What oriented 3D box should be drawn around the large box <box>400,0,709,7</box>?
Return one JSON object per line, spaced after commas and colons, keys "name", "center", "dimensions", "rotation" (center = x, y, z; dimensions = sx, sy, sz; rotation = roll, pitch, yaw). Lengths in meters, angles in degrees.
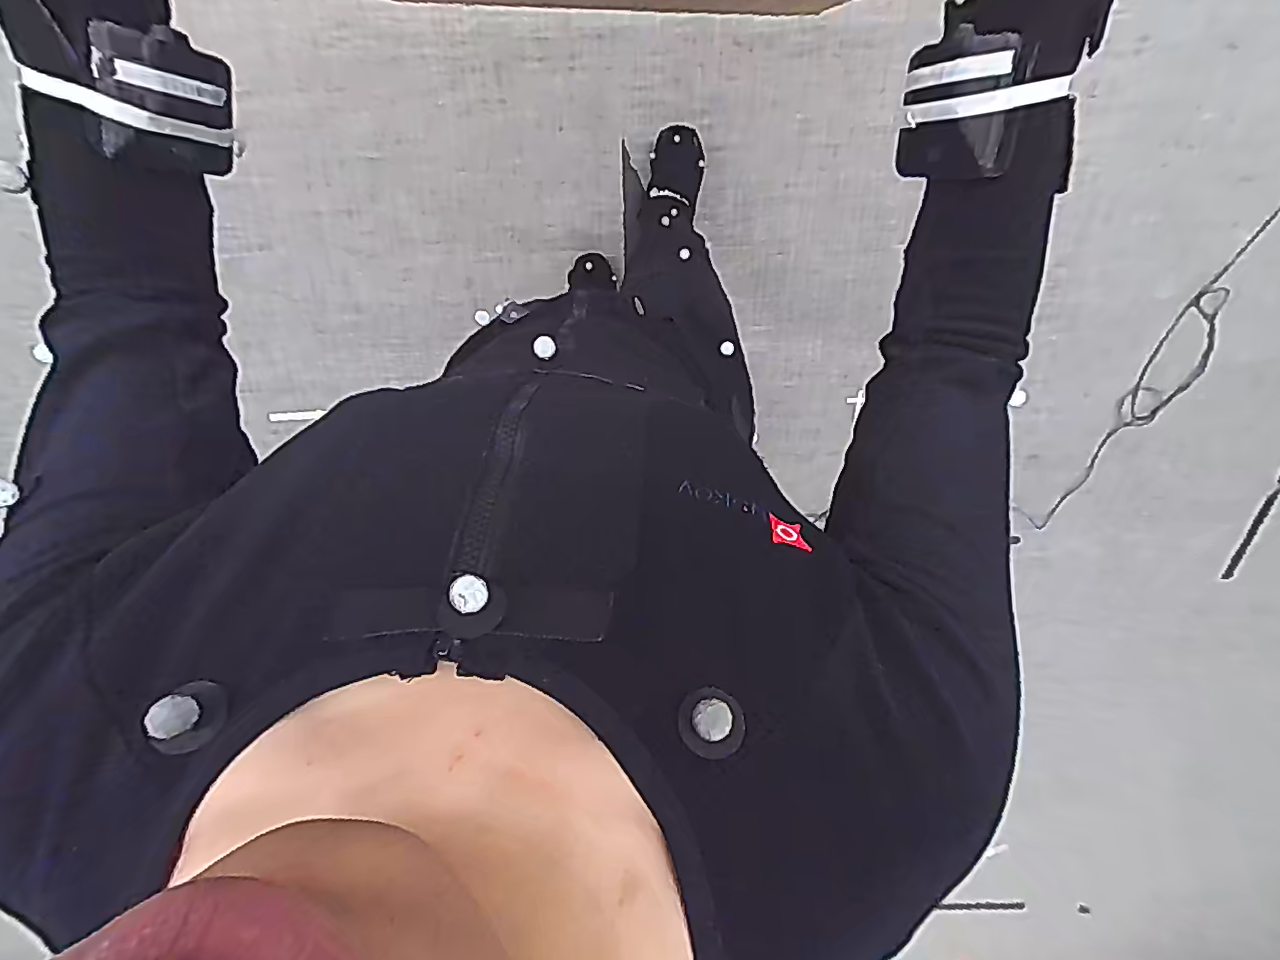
{"name": "large box", "center": [-0.029, -0.486, 0.300], "dimensions": [0.408, 0.320, 0.320], "rotation": [0, 127, -1]}
